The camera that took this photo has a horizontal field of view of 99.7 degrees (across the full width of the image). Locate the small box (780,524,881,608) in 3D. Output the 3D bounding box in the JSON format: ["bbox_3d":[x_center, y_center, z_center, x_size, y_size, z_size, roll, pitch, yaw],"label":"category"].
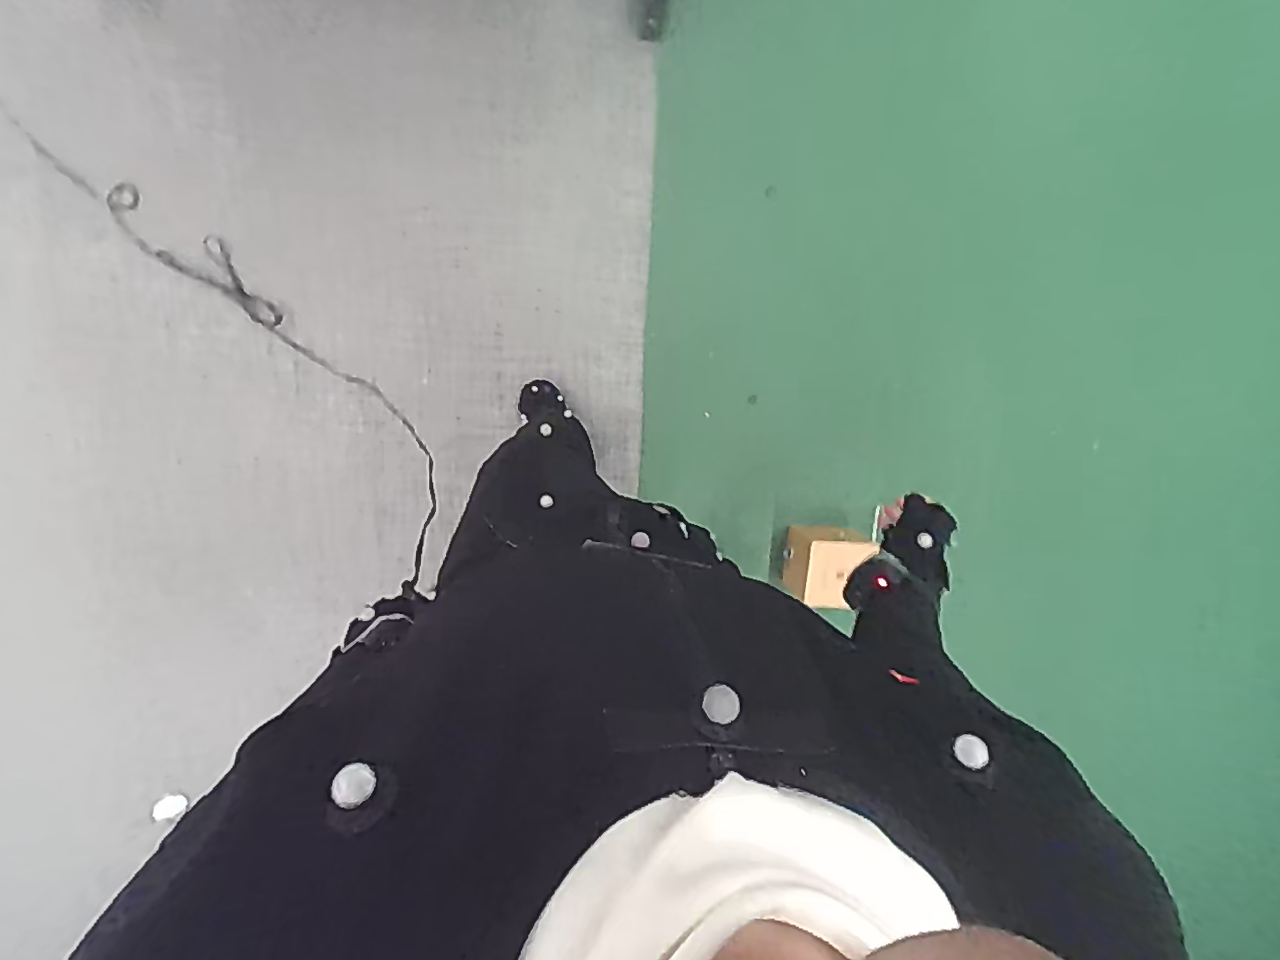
[{"bbox_3d":[0.482,0.214,1.389,0.179,0.176,0.168,6,98,-6],"label":"small box"}]
